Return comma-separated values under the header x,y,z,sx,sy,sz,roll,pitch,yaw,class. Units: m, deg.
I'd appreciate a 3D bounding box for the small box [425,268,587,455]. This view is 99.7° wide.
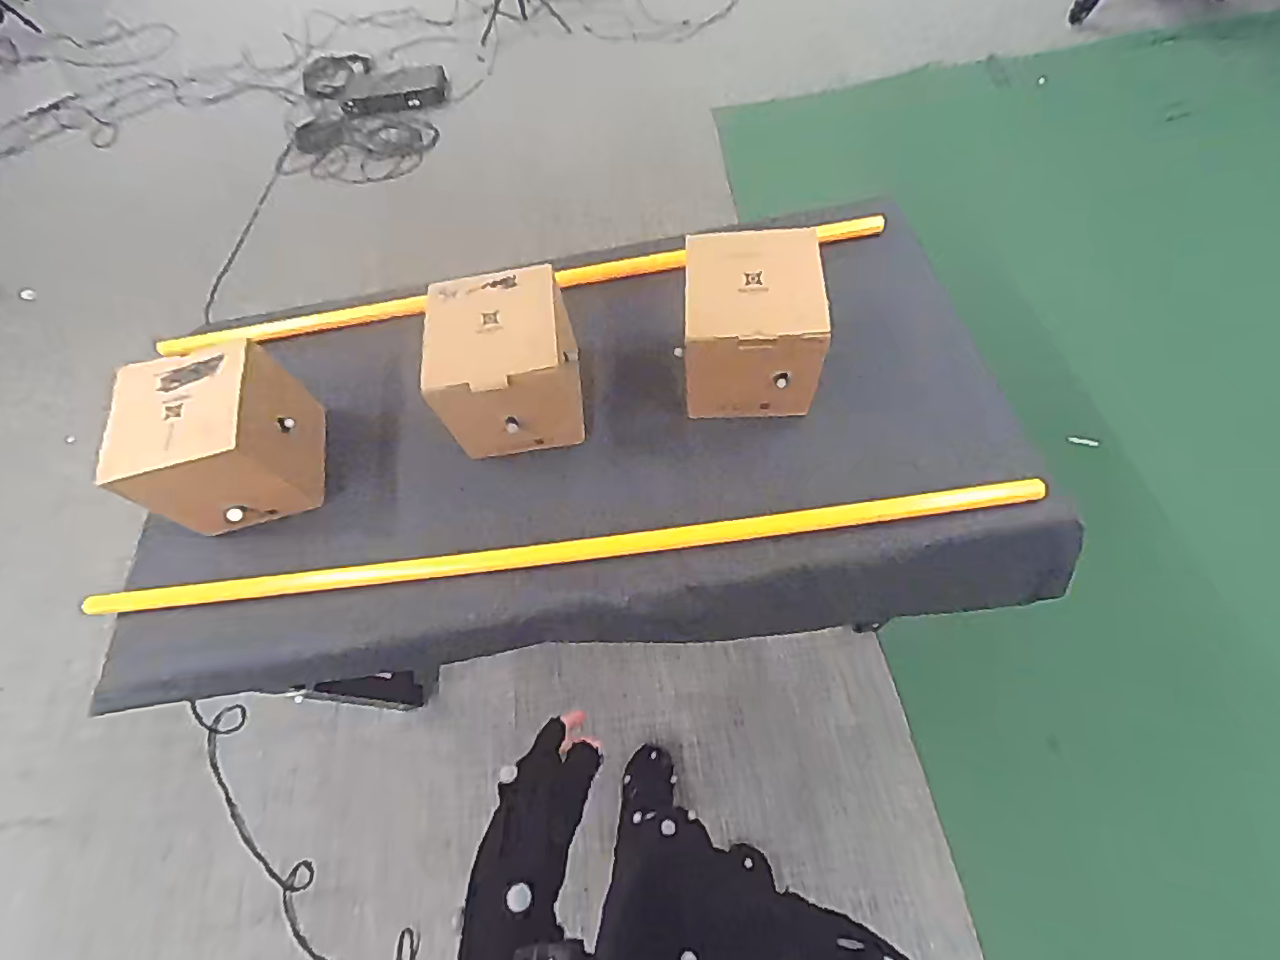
x,y,z,sx,sy,sz,roll,pitch,yaw,class
-0.174,-0.150,0.739,0.168,0.176,0.179,-12,62,2,small box

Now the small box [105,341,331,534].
x,y,z,sx,sy,sz,roll,pitch,yaw,class
-0.543,-0.051,0.727,0.168,0.176,0.179,-15,63,-1,small box

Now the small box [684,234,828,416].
x,y,z,sx,sy,sz,roll,pitch,yaw,class
0.144,-0.198,0.725,0.168,0.176,0.179,0,62,5,small box
